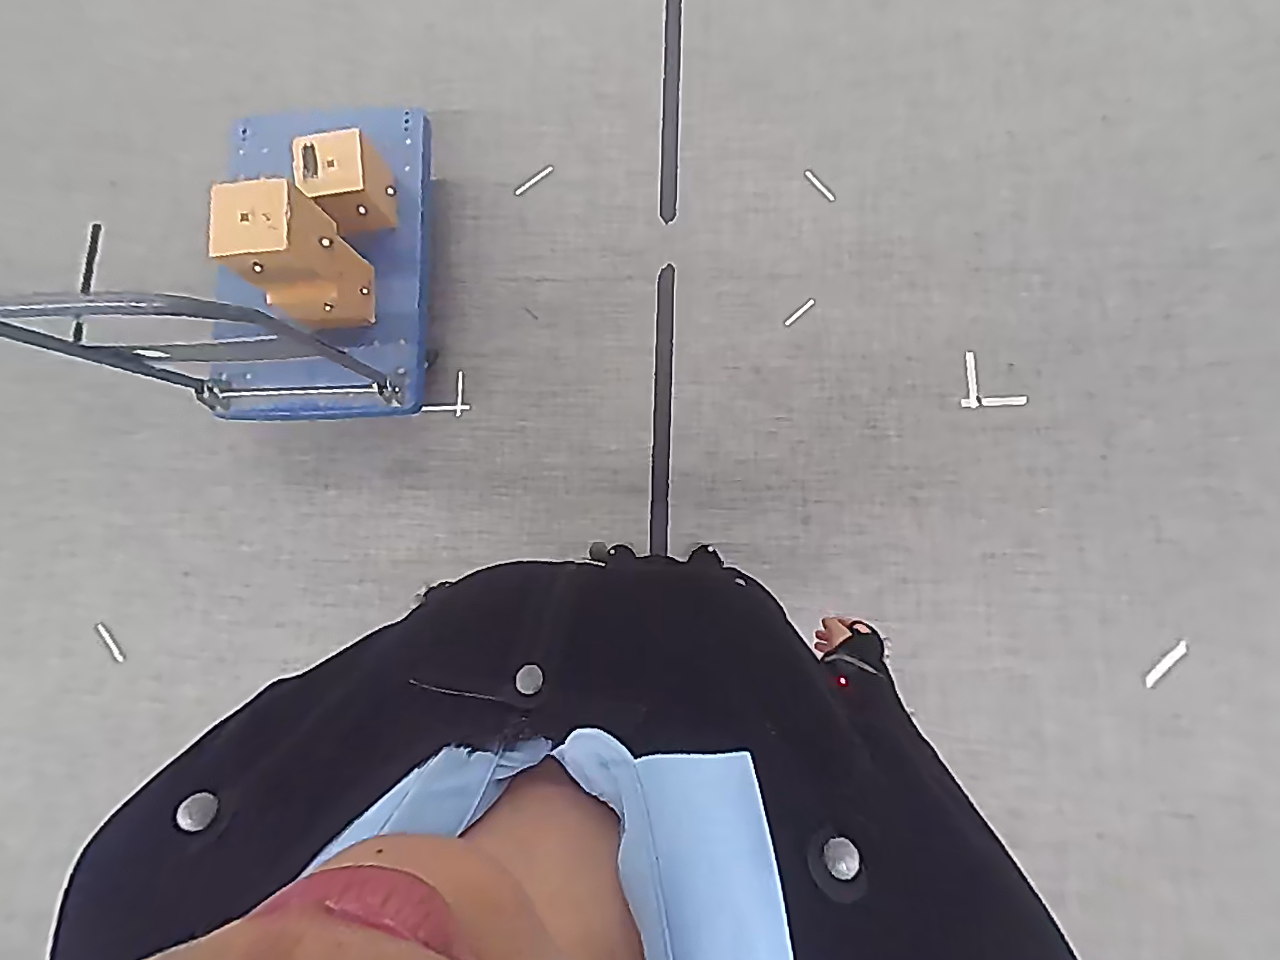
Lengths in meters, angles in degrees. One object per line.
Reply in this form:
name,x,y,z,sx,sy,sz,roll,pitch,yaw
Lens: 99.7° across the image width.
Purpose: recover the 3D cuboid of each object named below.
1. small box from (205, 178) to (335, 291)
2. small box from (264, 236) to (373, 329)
small box,-0.819,-0.539,1.210,0.179,0.176,0.168,-4,83,2
small box,-0.808,-0.494,1.370,0.179,0.176,0.168,-4,83,2
